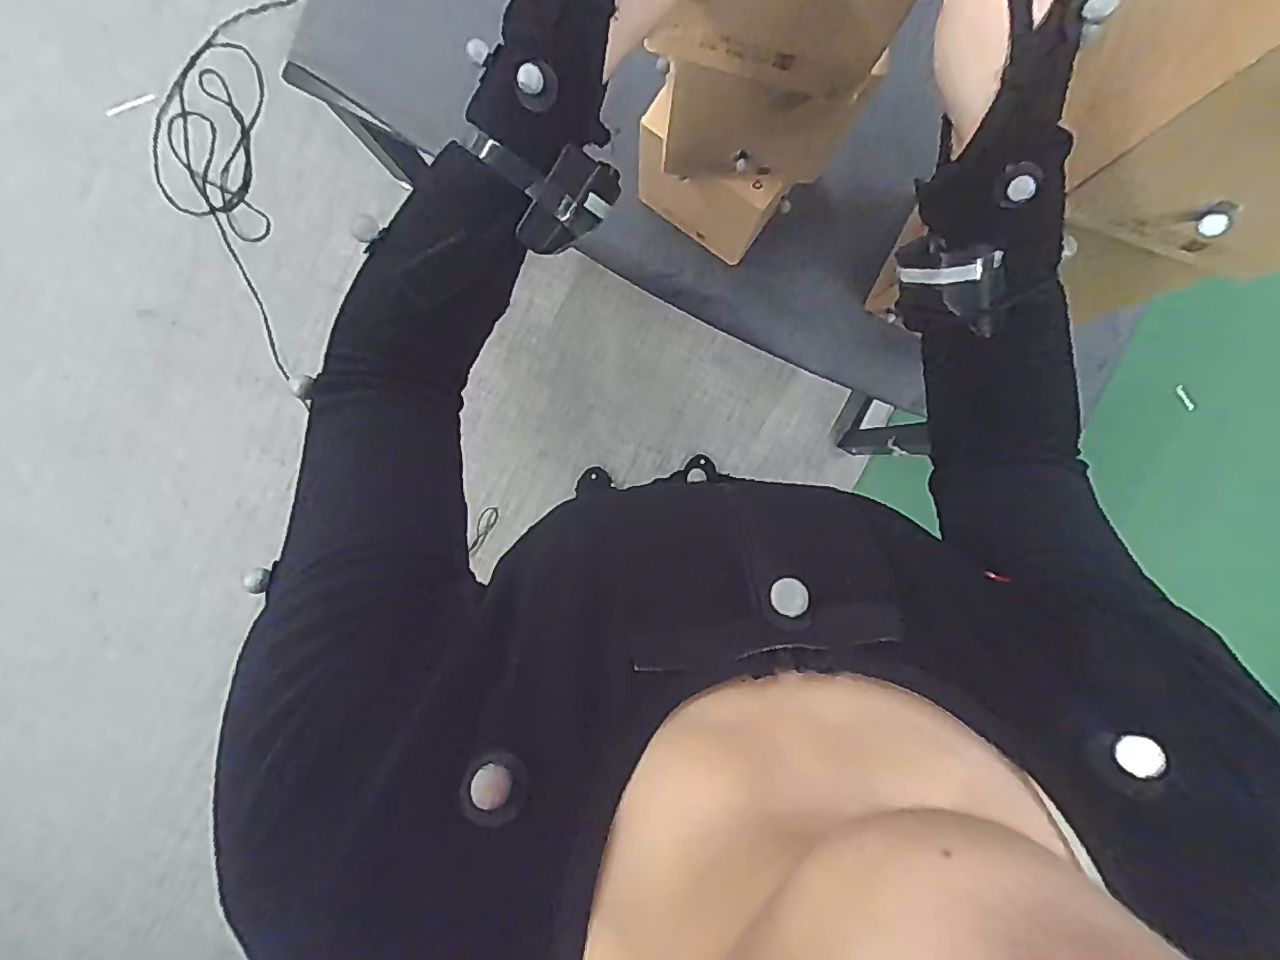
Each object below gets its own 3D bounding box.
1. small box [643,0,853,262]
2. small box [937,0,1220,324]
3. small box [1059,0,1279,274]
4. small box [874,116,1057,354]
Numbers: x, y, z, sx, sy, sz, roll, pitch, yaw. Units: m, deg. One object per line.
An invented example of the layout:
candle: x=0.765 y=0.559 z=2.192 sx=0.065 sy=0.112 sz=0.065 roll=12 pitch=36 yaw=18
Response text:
small box: x=0.113 y=-0.406 z=0.657 sx=0.168 sy=0.176 sz=0.179 roll=35 pitch=91 yaw=-1
small box: x=0.413 y=-0.271 z=0.495 sx=0.168 sy=0.176 sz=0.179 roll=23 pitch=92 yaw=1
small box: x=0.410 y=-0.260 z=0.329 sx=0.168 sy=0.176 sz=0.179 roll=19 pitch=90 yaw=2
small box: x=0.416 y=-0.276 z=0.657 sx=0.168 sy=0.176 sz=0.179 roll=27 pitch=90 yaw=0
